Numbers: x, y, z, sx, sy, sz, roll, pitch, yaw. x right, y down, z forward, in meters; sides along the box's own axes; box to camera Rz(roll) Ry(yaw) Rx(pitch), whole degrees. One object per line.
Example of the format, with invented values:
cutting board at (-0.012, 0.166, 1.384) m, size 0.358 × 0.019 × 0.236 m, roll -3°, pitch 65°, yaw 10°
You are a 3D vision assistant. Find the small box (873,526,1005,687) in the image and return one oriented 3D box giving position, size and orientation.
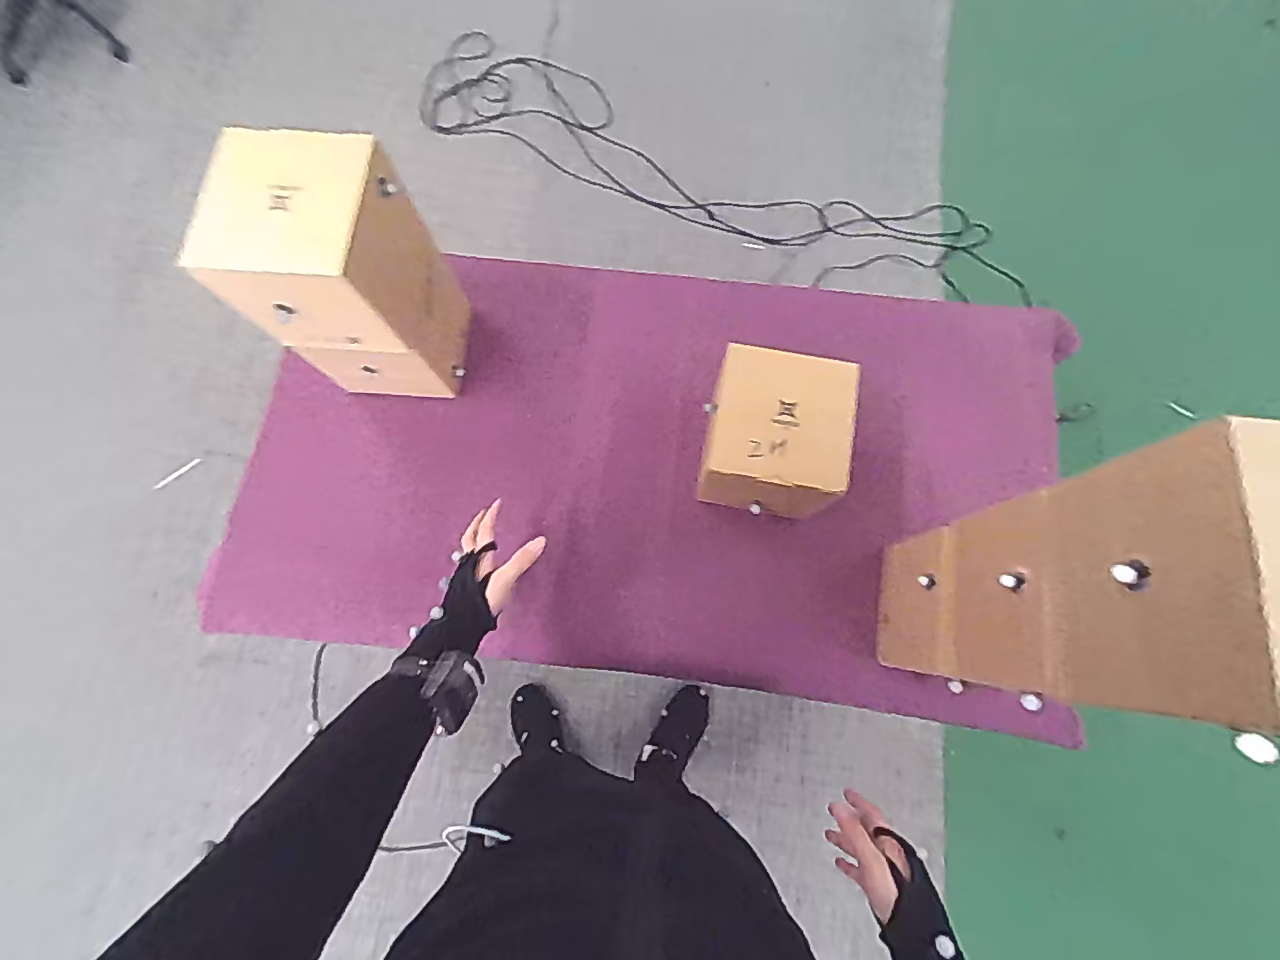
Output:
small box at (0.422, 0.166, 0.683) m, size 0.179 × 0.176 × 0.168 m, roll 11°, pitch 75°, yaw 4°

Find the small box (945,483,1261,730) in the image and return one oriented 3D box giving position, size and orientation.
small box at (0.422, 0.120, 0.526) m, size 0.168 × 0.176 × 0.179 m, roll 10°, pitch 75°, yaw 5°

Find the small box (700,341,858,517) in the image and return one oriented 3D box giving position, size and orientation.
small box at (0.181, -0.061, 0.745) m, size 0.168 × 0.176 × 0.179 m, roll 11°, pitch 76°, yaw 4°

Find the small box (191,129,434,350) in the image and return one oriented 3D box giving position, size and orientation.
small box at (-0.363, -0.270, 0.636) m, size 0.168 × 0.176 × 0.179 m, roll 4°, pitch 75°, yaw 2°

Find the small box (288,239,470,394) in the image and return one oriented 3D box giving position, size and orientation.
small box at (-0.365, -0.235, 0.795) m, size 0.179 × 0.176 × 0.168 m, roll 3°, pitch 76°, yaw 2°
